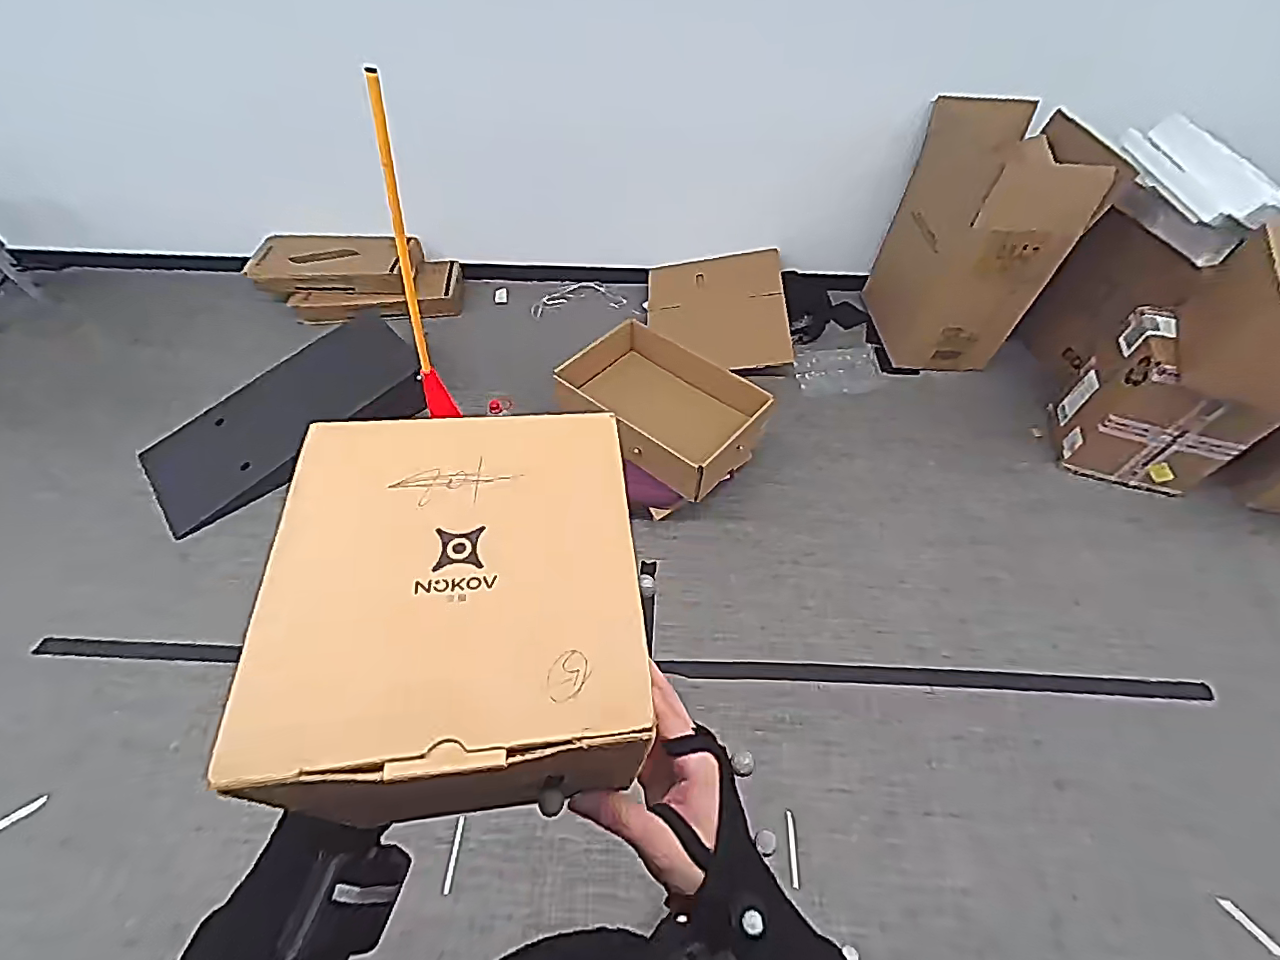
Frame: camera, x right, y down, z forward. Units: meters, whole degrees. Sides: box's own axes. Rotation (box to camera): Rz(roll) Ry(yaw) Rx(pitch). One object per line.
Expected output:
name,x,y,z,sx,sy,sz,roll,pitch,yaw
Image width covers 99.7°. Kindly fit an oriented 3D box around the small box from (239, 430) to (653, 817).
small box,-0.091,0.092,0.327,0.168,0.176,0.179,-3,54,-9
